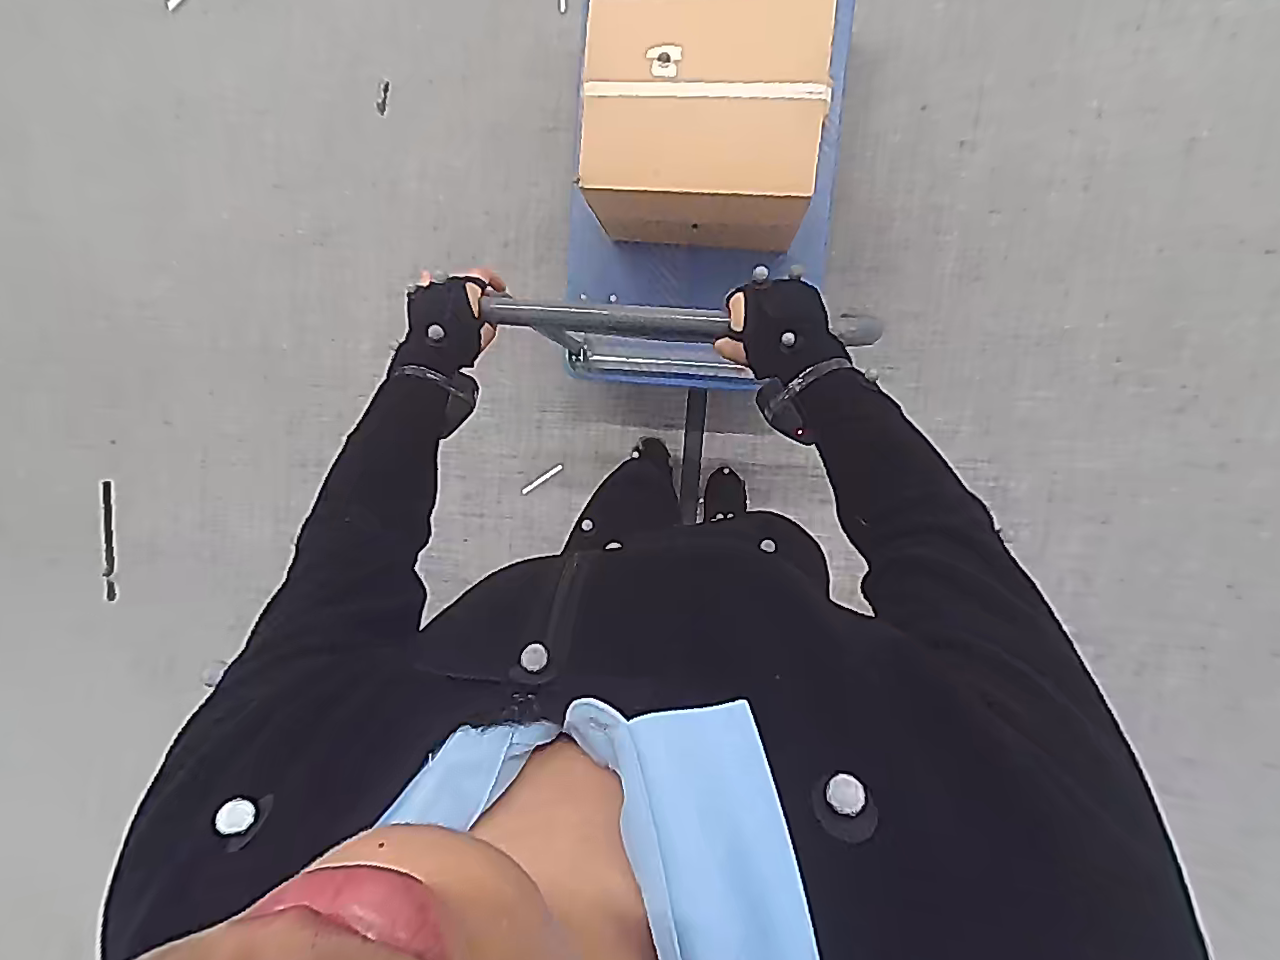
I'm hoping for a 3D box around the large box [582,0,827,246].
[{"bbox_3d":[0.124,-0.668,1.069,0.408,0.320,0.320,6,97,8],"label":"large box"}]
